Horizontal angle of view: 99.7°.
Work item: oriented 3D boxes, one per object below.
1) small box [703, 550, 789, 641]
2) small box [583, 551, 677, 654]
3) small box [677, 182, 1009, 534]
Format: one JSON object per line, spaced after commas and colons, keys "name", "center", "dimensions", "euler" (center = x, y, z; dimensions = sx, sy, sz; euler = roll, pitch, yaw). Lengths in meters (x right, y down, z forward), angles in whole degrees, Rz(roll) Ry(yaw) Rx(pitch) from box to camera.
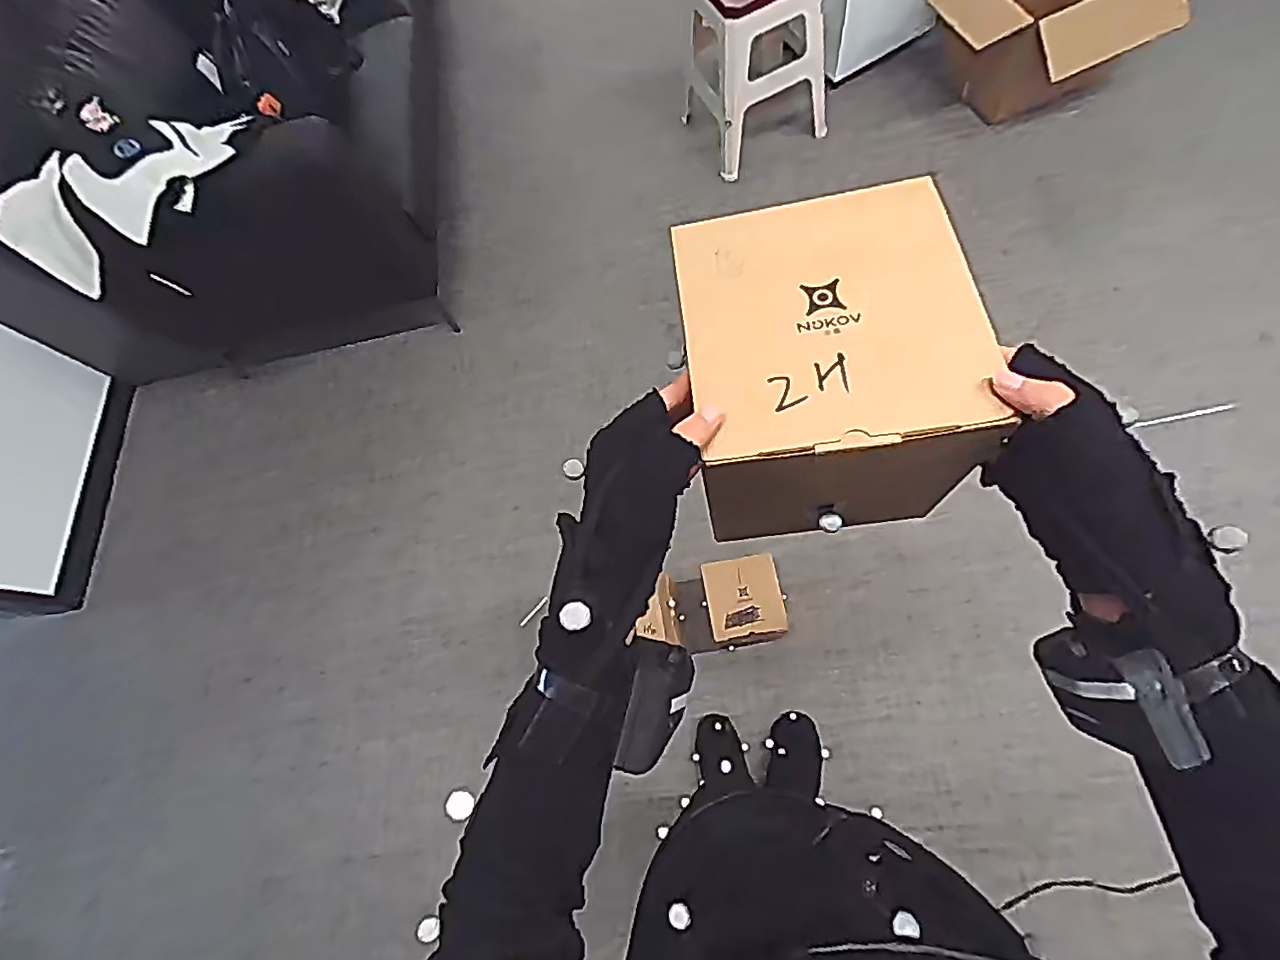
{"name": "small box", "center": [0.250, 0.281, 1.281], "dimensions": [0.168, 0.176, 0.179], "euler": [-11, 67, 7]}
{"name": "small box", "center": [-0.019, 0.269, 1.163], "dimensions": [0.168, 0.176, 0.179], "euler": [-10, 67, 7]}
{"name": "small box", "center": [0.122, -0.072, 0.397], "dimensions": [0.168, 0.176, 0.179], "euler": [-8, 68, 9]}
